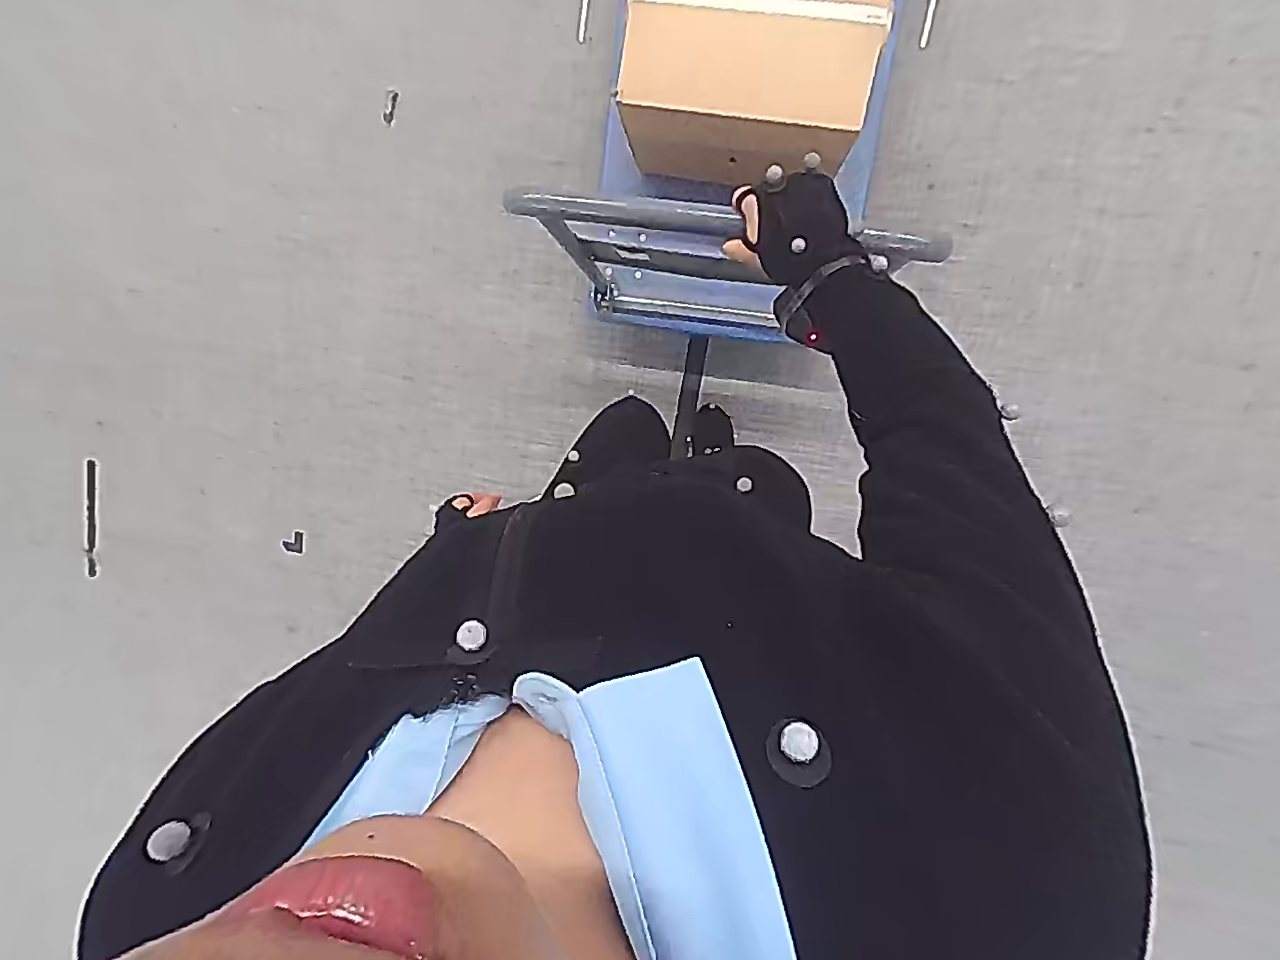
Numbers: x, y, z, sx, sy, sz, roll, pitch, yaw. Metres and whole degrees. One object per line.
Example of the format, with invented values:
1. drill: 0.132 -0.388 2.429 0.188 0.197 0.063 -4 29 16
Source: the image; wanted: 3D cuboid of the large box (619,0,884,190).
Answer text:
1. large box: 0.203 -0.773 1.008 0.408 0.320 0.320 11 100 6
